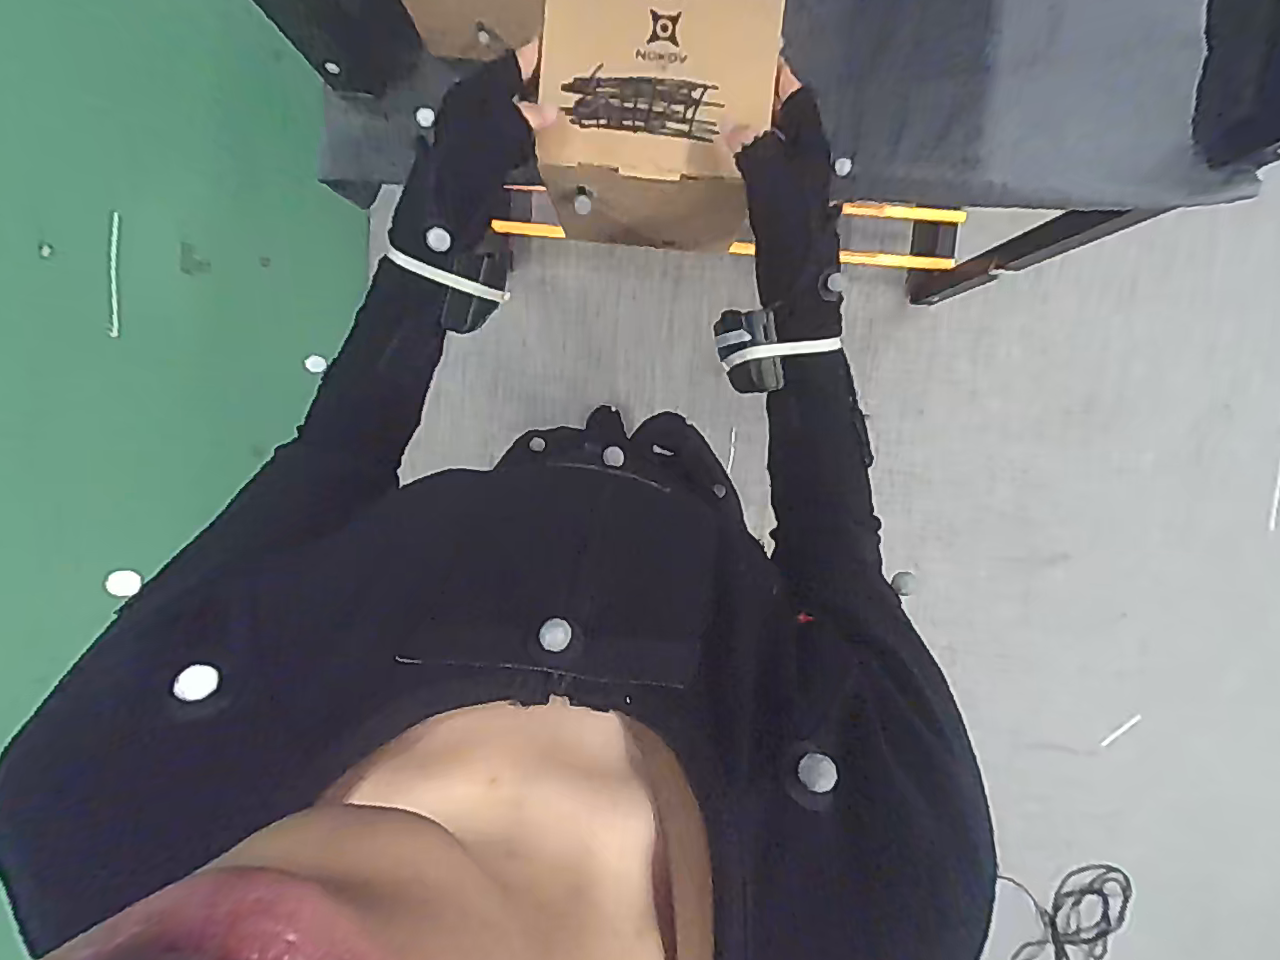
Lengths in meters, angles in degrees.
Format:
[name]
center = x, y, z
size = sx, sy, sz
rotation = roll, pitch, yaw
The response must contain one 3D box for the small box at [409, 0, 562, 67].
[small box]
center = -0.177, -0.607, 0.595
size = 0.168, 0.176, 0.179
rotation = 3, 95, -1
